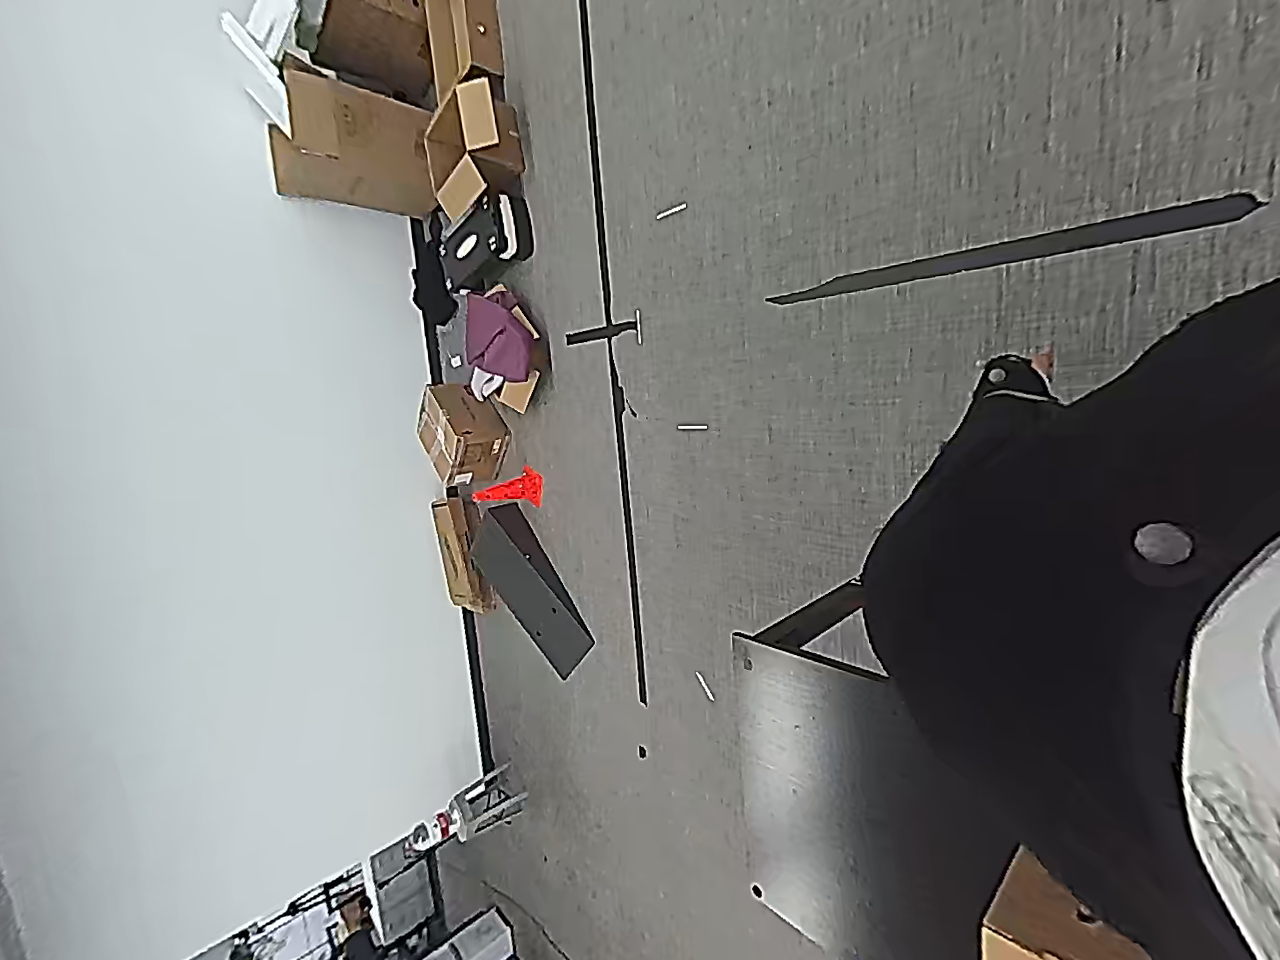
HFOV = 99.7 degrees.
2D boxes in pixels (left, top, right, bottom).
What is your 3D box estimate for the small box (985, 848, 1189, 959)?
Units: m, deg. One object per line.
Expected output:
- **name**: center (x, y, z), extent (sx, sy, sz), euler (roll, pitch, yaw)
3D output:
- **small box**: center (0.529, 0.595, 0.643), extent (0.168, 0.176, 0.179), euler (3, 101, 49)
